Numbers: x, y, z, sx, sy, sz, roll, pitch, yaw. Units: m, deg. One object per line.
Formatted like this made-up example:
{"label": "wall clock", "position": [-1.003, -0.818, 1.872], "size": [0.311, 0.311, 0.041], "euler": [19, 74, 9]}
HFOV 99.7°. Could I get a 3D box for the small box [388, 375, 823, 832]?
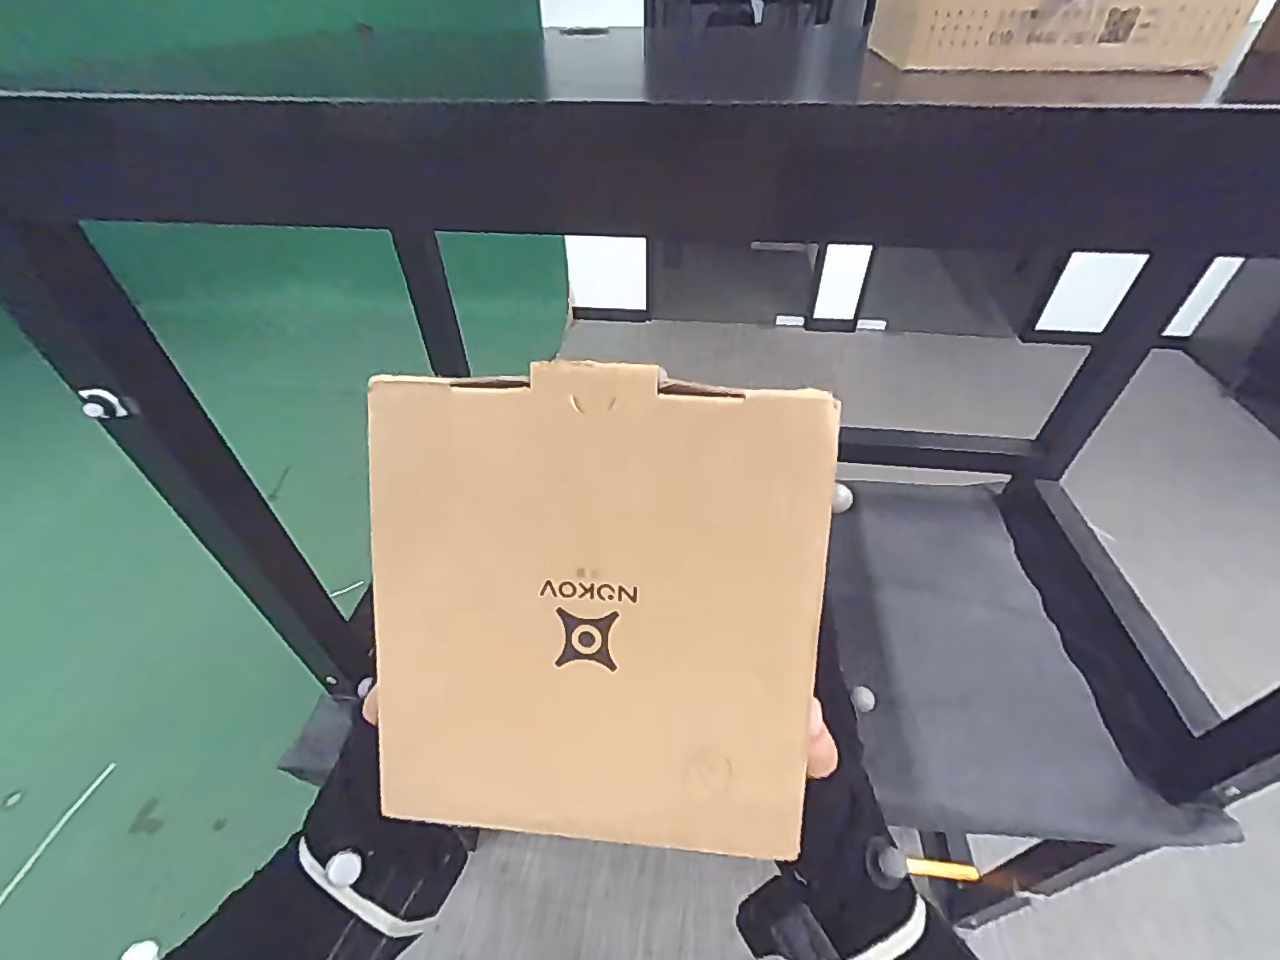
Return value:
{"label": "small box", "position": [-0.011, 0.039, 0.290], "size": [0.168, 0.179, 0.176], "euler": [3, 8, 5]}
